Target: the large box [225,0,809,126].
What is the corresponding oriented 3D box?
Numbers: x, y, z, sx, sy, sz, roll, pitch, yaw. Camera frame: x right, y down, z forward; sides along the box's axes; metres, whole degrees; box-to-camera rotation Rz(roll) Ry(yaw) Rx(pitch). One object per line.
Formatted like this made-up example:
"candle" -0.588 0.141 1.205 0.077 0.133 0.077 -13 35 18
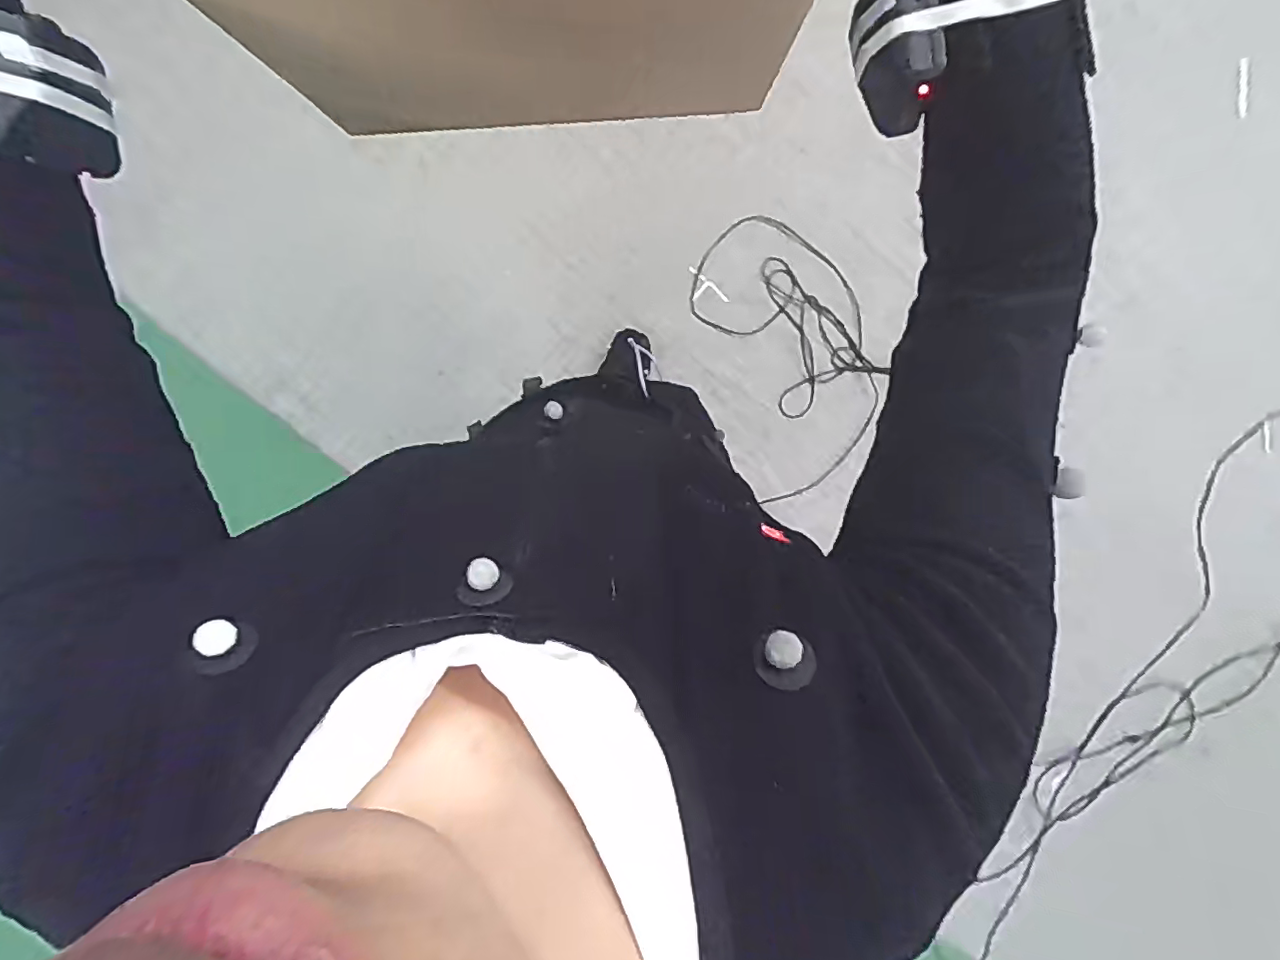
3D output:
"large box" -0.084 -0.473 0.350 0.408 0.320 0.320 -4 102 -1
